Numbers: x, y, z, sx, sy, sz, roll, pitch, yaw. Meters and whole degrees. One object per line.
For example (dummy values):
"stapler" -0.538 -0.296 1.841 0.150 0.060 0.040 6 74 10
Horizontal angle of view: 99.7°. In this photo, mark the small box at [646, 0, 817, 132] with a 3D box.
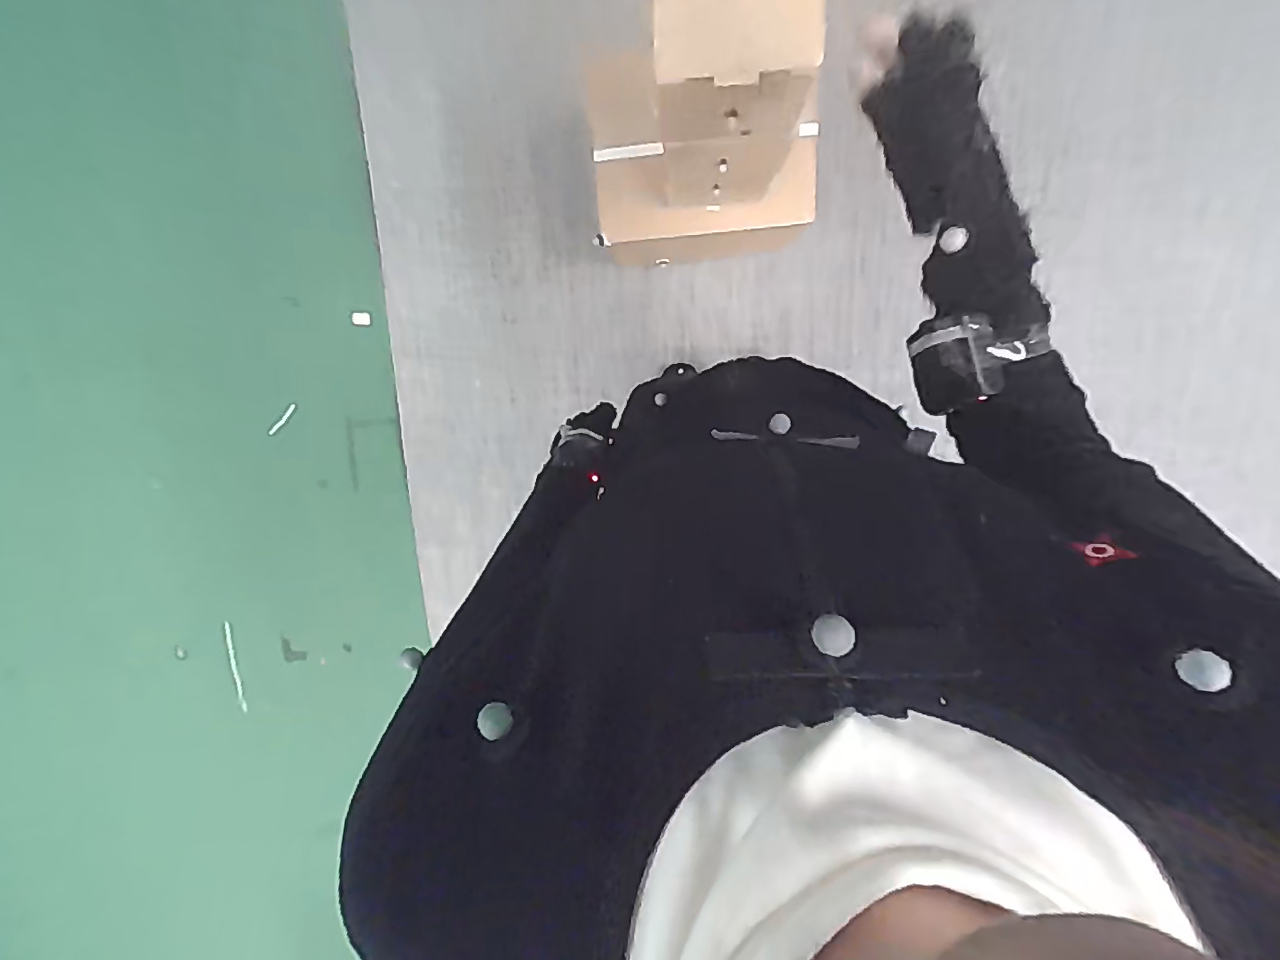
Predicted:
"small box" 0.098 -0.502 0.592 0.168 0.176 0.179 1 105 6

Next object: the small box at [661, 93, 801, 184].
"small box" 0.116 -0.532 0.752 0.179 0.176 0.168 -5 104 6

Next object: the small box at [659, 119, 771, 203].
"small box" 0.124 -0.577 0.910 0.179 0.176 0.168 -1 104 5
